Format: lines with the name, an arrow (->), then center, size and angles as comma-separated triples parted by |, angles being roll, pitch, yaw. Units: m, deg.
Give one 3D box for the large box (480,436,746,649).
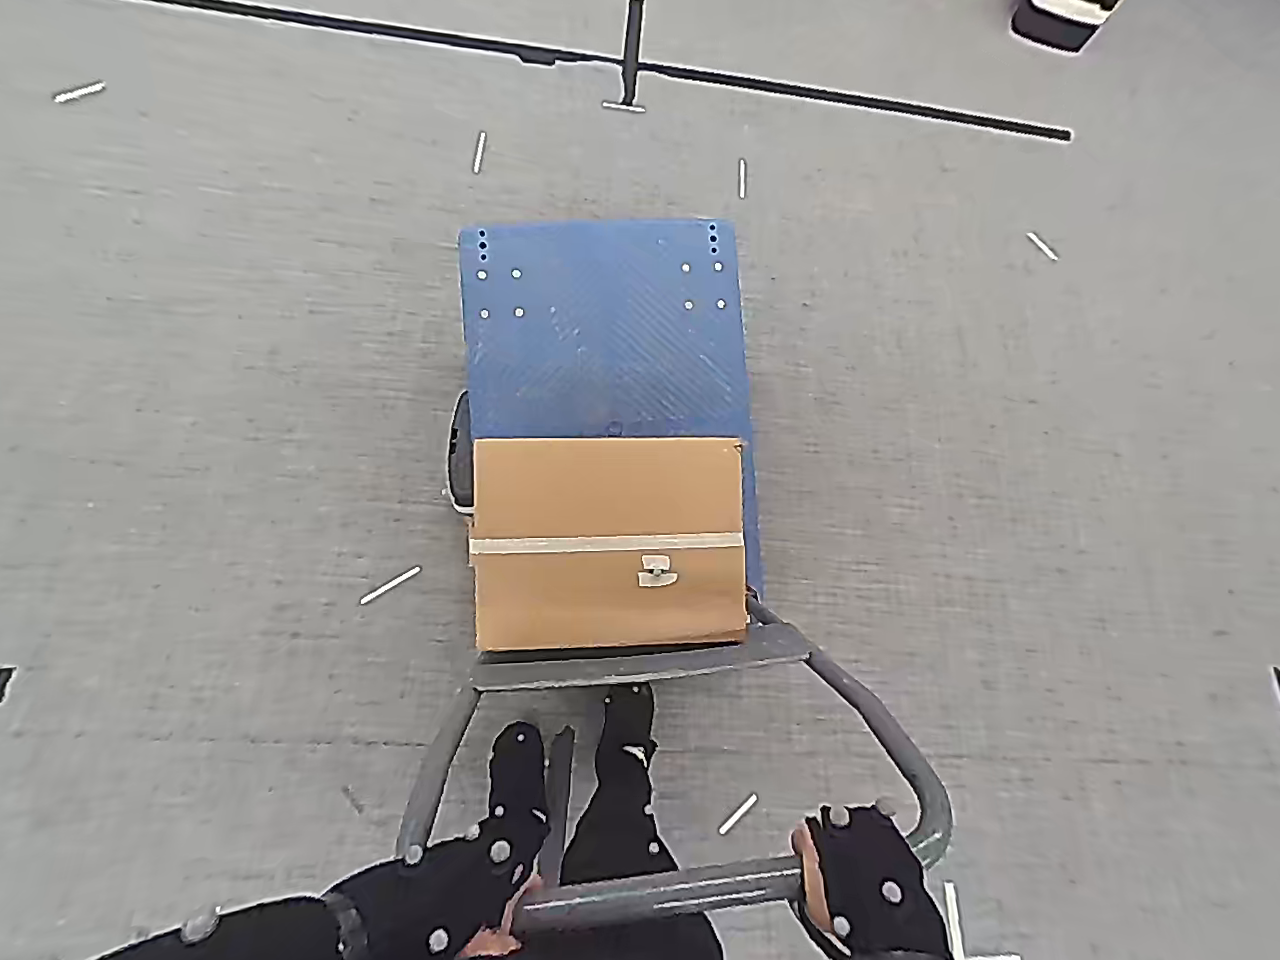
large box -> -0.055, 0.095, 0.966 | 0.408, 0.320, 0.320 | -1, 89, -6
